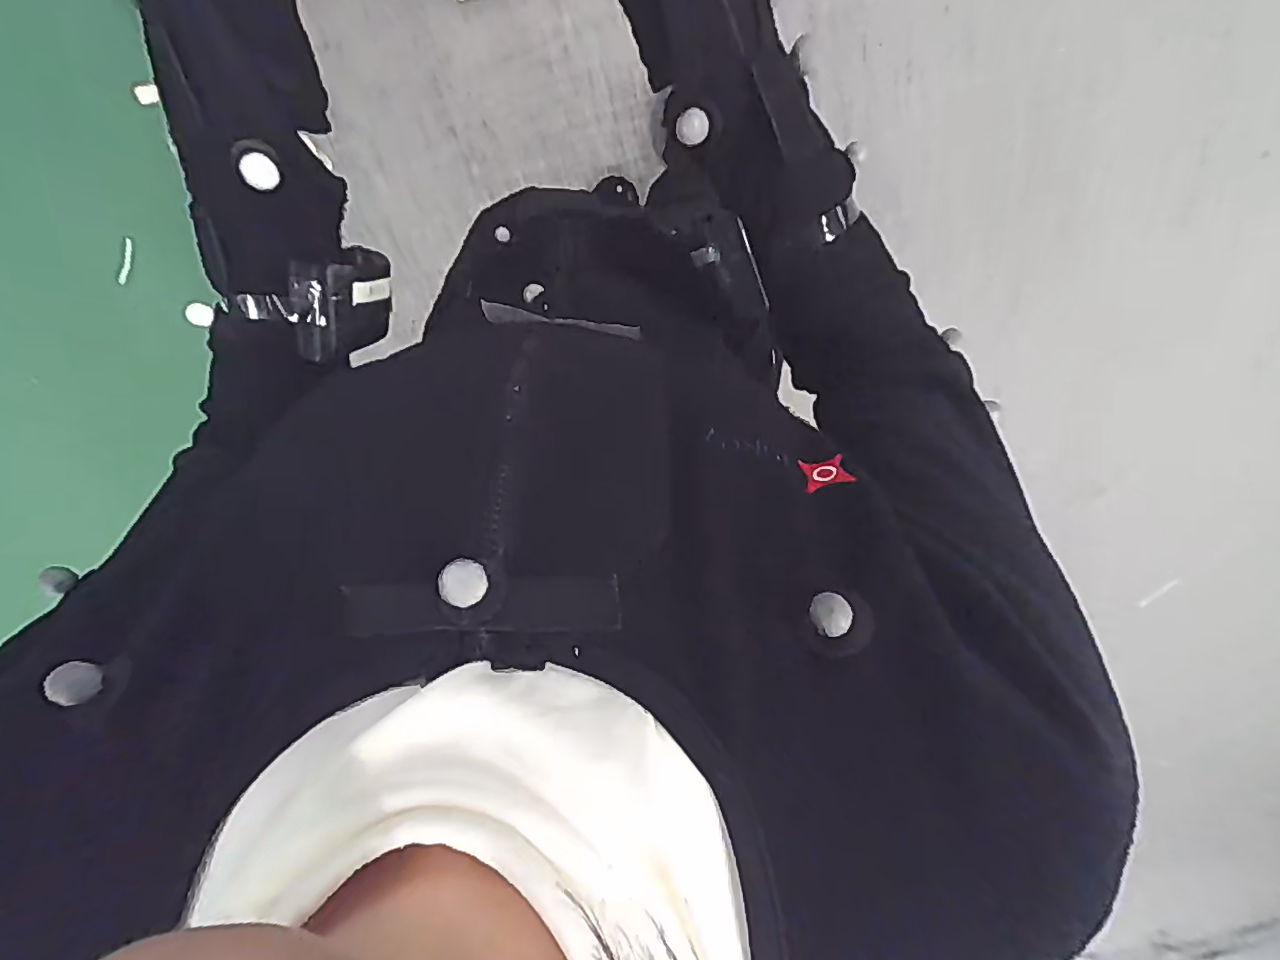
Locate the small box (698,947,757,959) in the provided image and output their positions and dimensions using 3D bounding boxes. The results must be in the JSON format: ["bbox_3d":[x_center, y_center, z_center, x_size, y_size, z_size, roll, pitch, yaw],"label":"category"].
[{"bbox_3d":[0.270,1.474,1.544,0.168,0.176,0.179,-16,120,8],"label":"small box"}]
